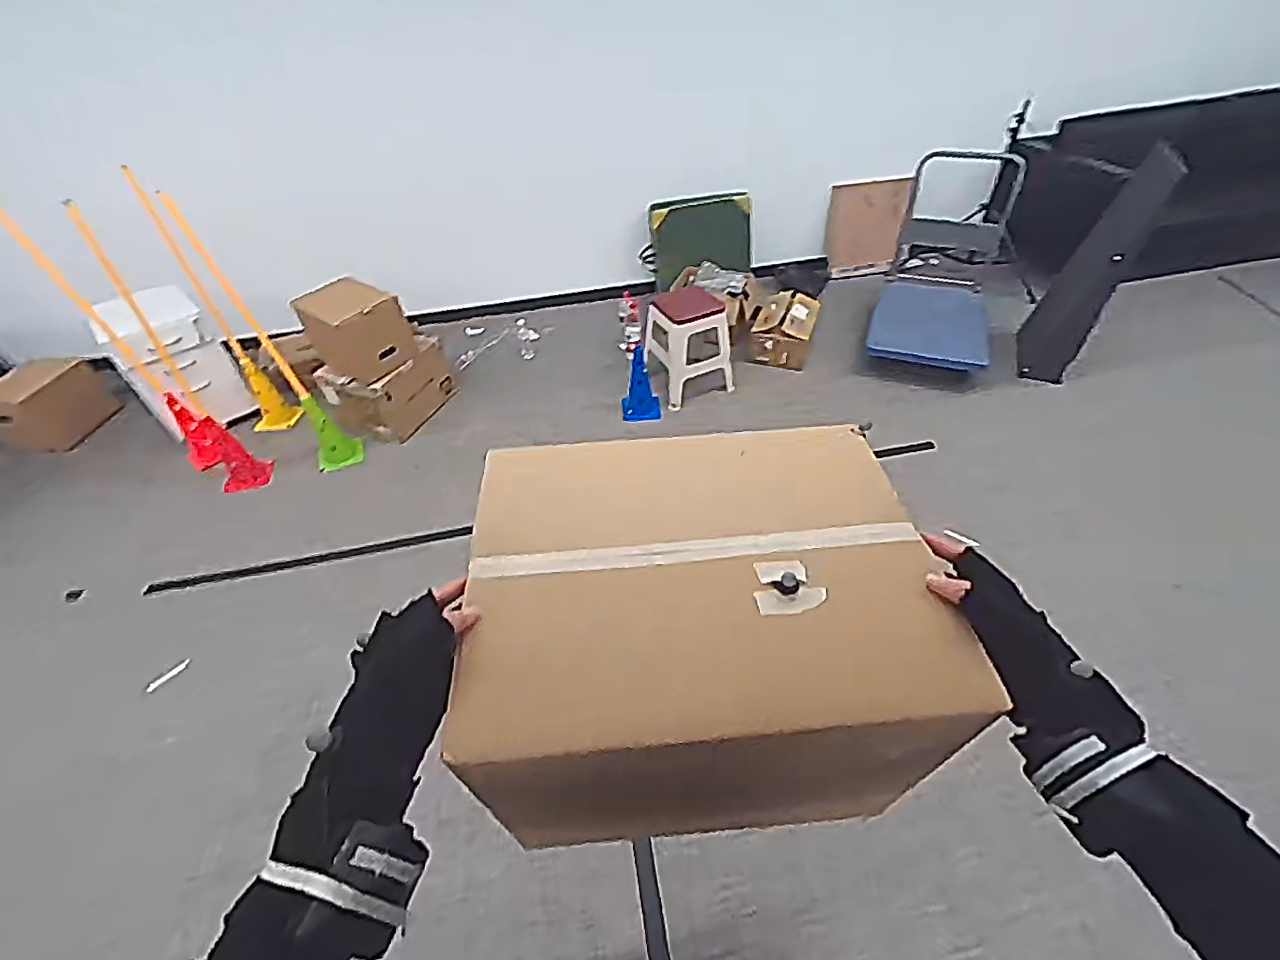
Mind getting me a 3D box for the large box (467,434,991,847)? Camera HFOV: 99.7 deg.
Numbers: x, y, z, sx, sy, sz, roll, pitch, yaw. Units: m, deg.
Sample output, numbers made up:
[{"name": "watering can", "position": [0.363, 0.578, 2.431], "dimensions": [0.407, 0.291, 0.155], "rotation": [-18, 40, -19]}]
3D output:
[{"name": "large box", "position": [0.057, 0.176, 0.604], "dimensions": [0.408, 0.320, 0.320], "rotation": [-4, 47, -3]}]
